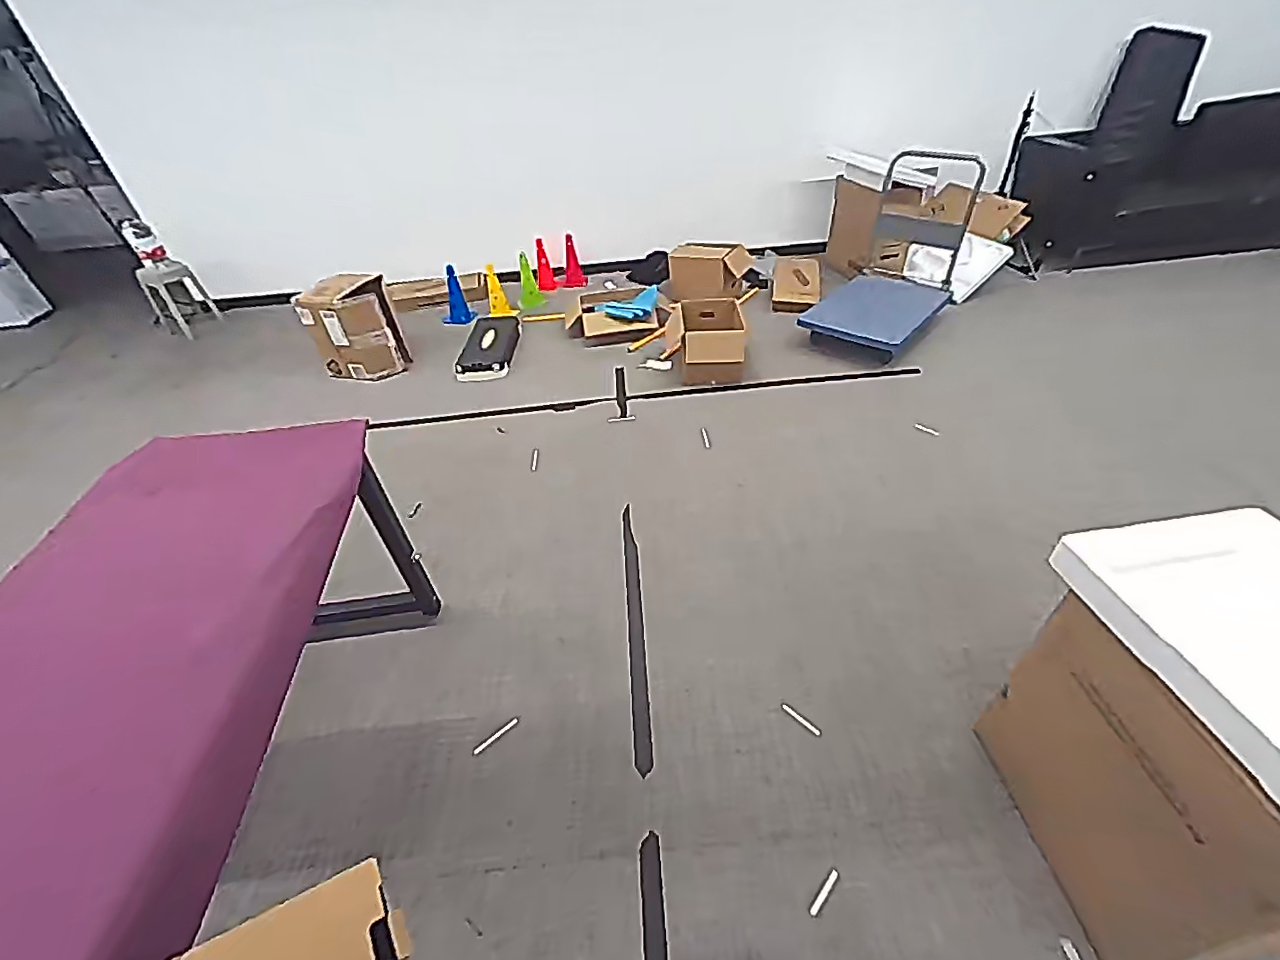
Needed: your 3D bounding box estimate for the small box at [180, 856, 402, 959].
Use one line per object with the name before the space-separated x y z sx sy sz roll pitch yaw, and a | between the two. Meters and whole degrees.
small box | -0.343 0.546 0.559 0.179 0.176 0.168 -11 47 -34
